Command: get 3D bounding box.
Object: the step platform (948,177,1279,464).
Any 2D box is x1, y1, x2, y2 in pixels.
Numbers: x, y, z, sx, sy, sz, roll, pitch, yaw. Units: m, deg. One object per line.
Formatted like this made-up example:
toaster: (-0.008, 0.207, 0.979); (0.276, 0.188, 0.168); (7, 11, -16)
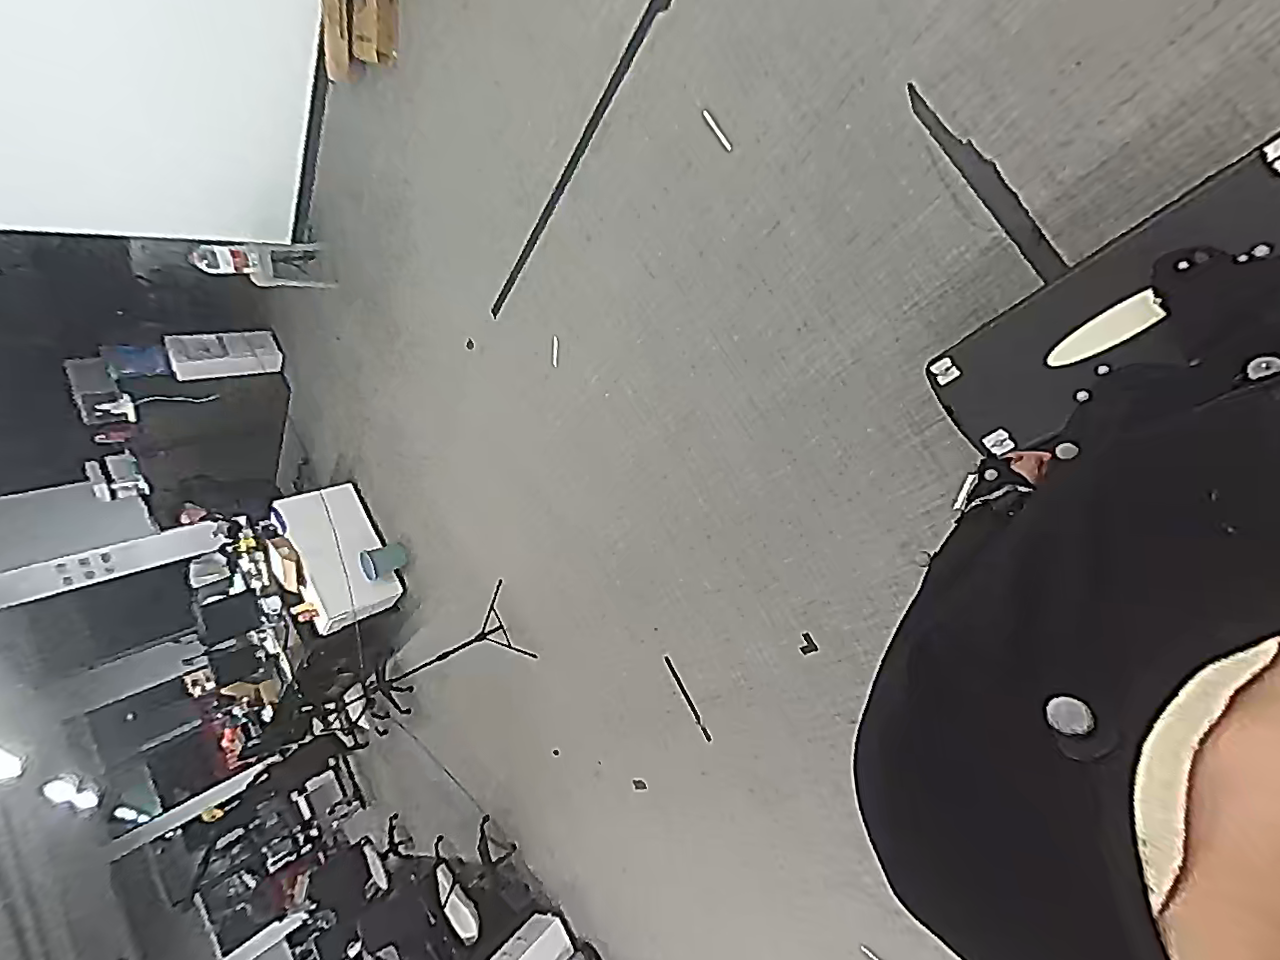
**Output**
step platform: (0.986, -0.287, 1.037); (0.684, 0.204, 0.286); (-33, 79, 44)
